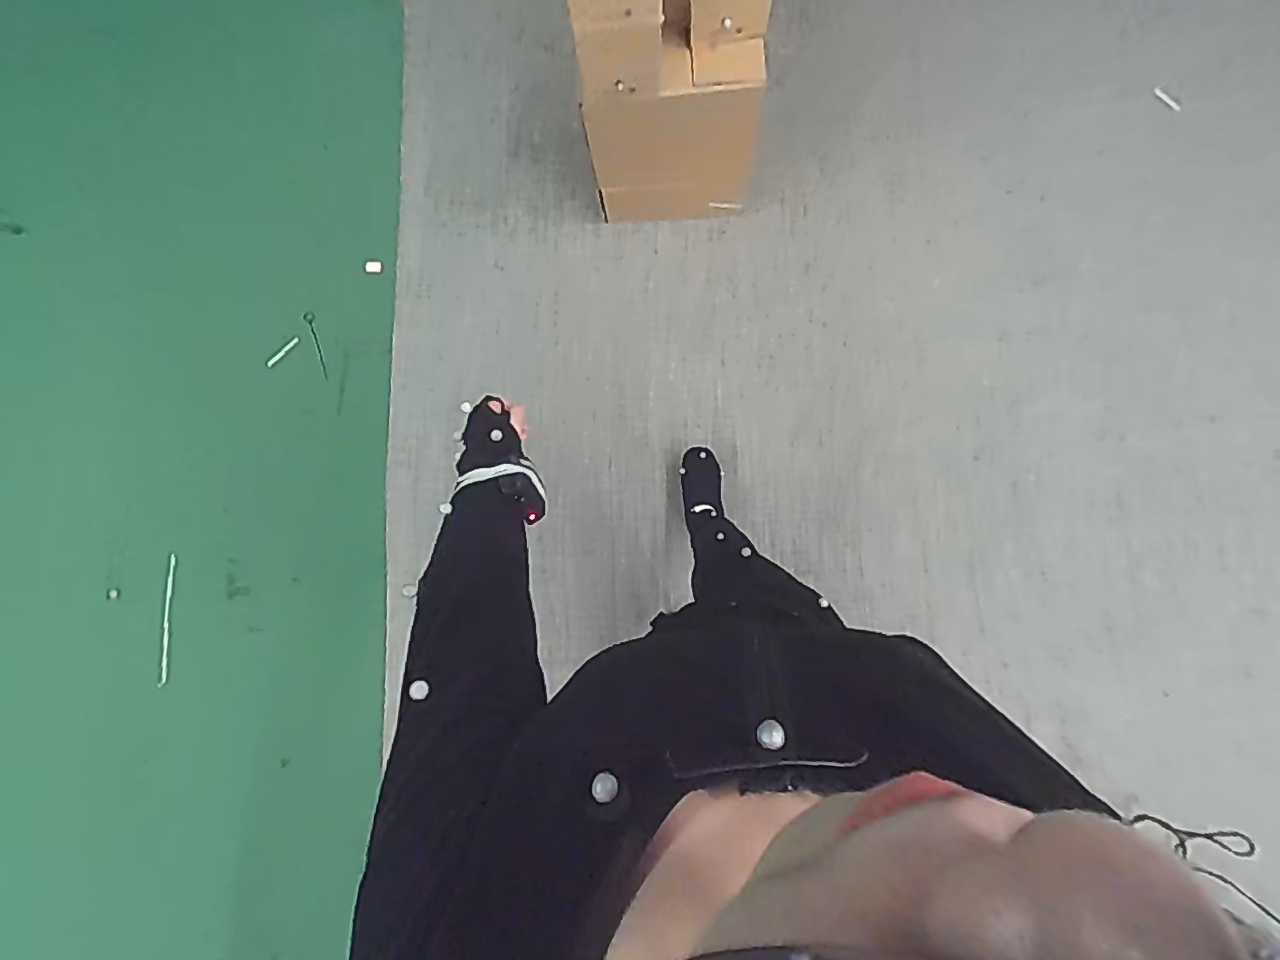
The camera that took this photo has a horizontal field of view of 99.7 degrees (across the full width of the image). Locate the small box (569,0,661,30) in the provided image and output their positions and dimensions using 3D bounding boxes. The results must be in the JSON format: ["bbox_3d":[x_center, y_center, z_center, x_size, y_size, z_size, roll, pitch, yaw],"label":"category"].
[{"bbox_3d":[-0.052,-0.930,0.939,0.168,0.176,0.179,-5,85,2],"label":"small box"}]
